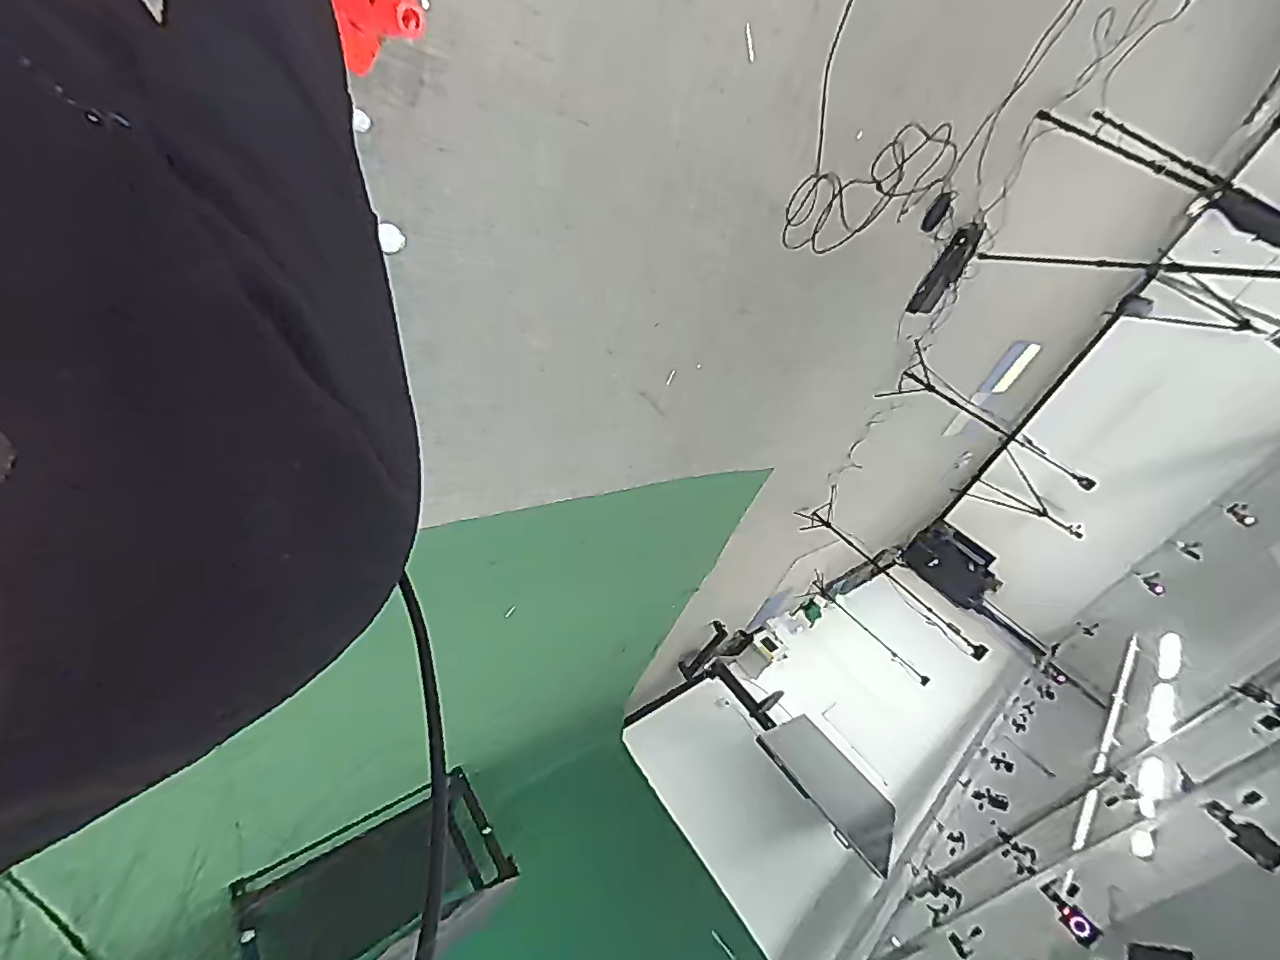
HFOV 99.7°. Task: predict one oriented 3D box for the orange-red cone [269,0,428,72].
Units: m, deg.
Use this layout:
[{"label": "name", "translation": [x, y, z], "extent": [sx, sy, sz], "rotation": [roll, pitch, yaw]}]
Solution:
[{"label": "orange-red cone", "translation": [-0.410, -0.739, 0.827], "extent": [0.198, 0.360, 0.199], "rotation": [-52, 149, 14]}]
